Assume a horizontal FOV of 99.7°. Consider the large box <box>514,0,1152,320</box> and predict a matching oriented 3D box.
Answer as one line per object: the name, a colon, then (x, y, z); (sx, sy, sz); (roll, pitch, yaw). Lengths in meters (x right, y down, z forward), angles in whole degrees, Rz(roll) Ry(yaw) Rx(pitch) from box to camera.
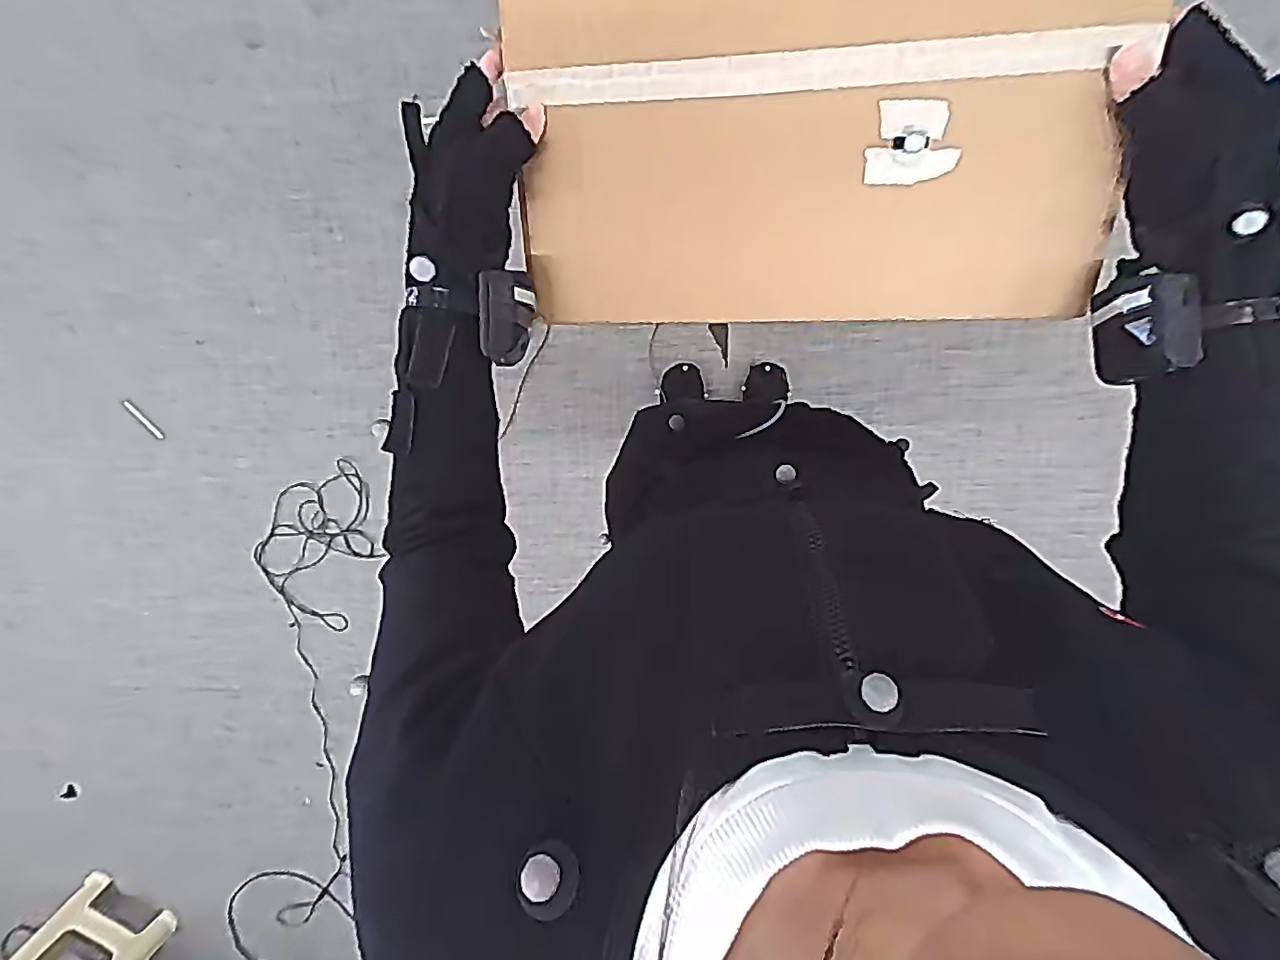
large box: (0.128, -0.330, 0.496); (0.408, 0.320, 0.320); (1, 114, 7)
